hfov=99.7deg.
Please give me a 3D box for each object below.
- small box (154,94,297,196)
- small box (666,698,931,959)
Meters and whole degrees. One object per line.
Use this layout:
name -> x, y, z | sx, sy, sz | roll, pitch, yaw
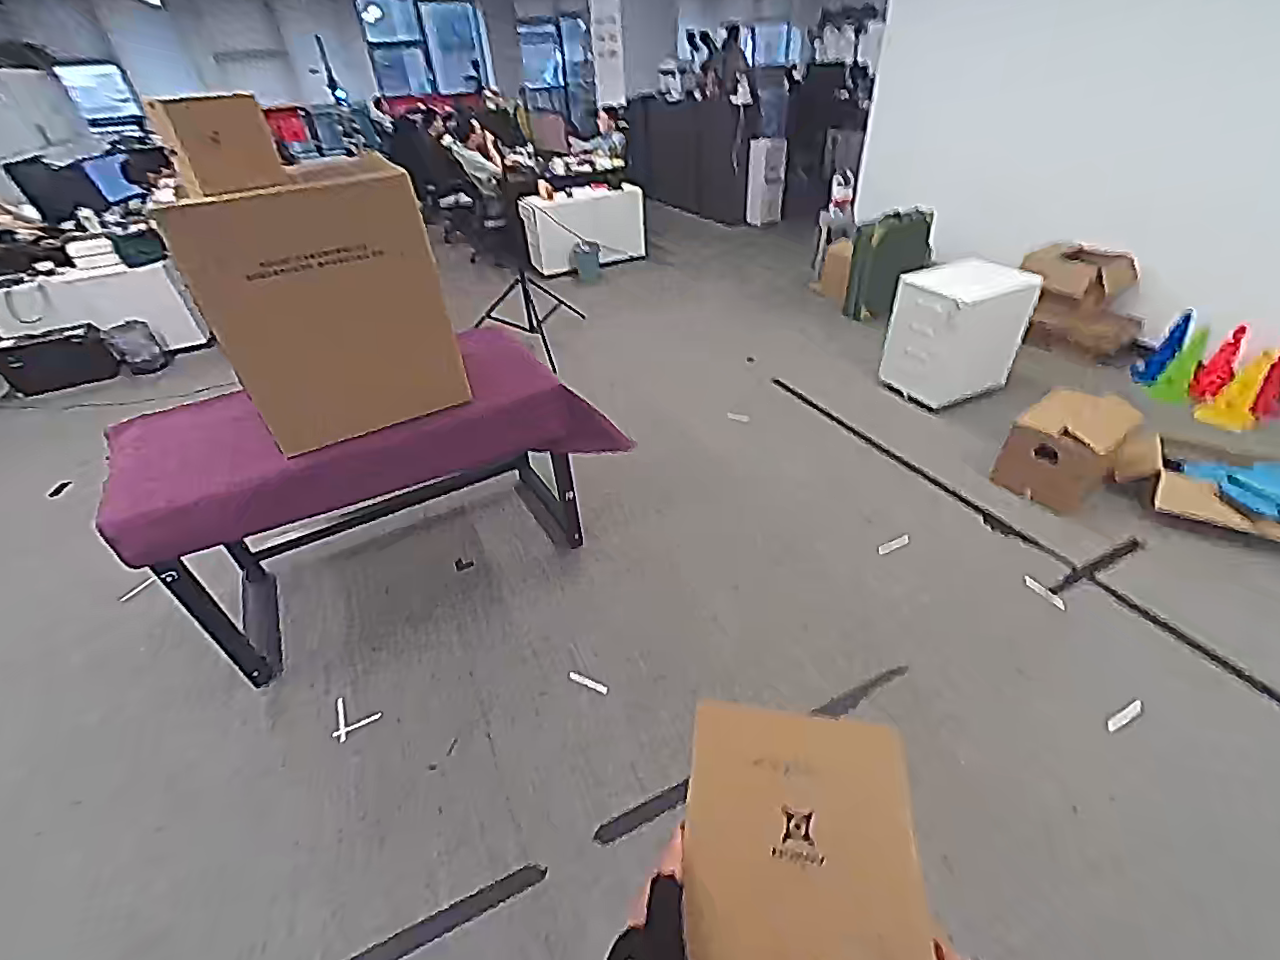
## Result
small box -> -0.904, -0.737, 1.189 | 0.168, 0.176, 0.179 | 31, 50, 34
small box -> 0.115, 0.309, 0.444 | 0.168, 0.176, 0.179 | 4, 44, 8
